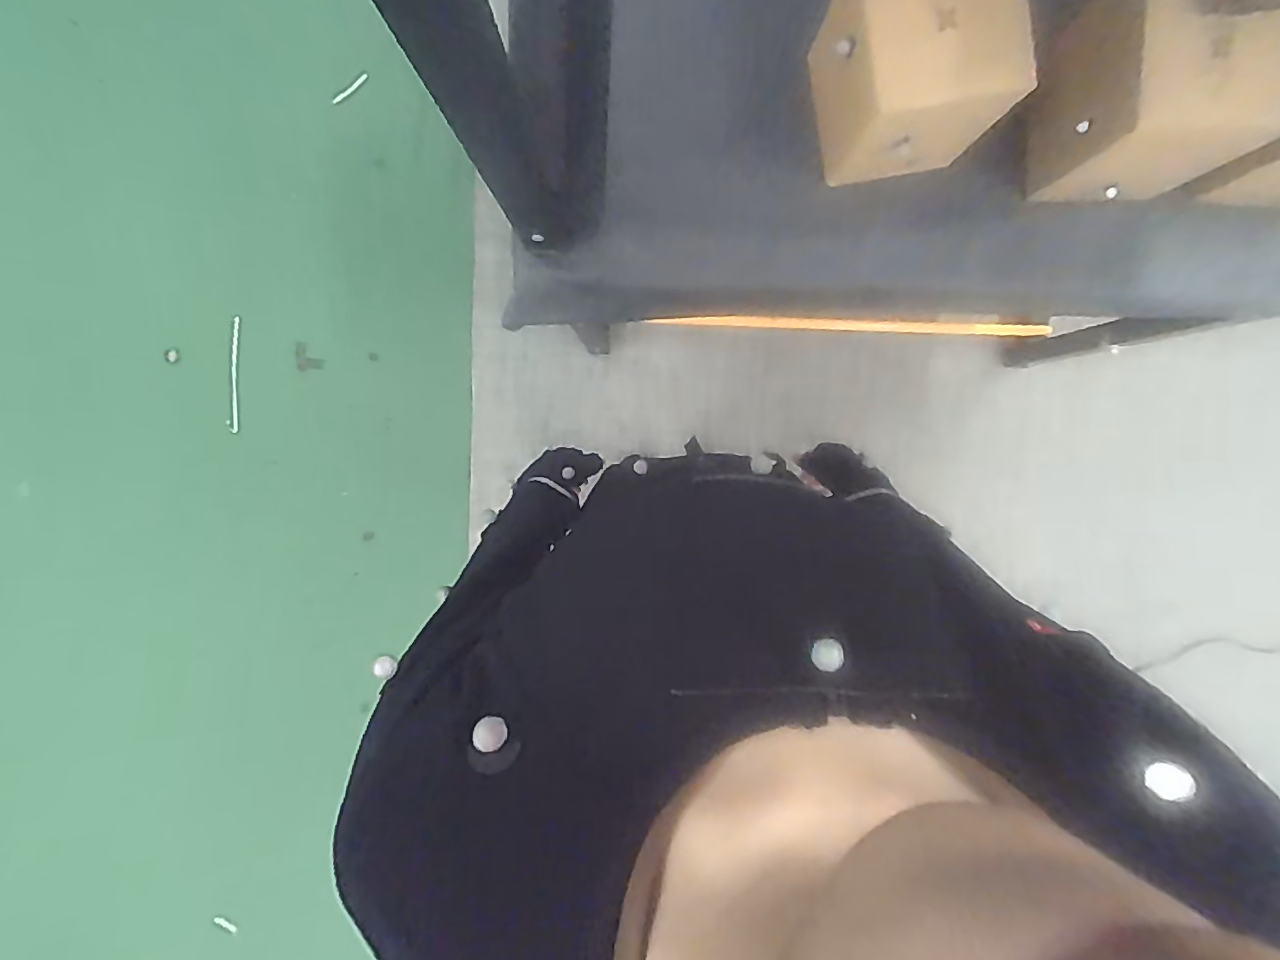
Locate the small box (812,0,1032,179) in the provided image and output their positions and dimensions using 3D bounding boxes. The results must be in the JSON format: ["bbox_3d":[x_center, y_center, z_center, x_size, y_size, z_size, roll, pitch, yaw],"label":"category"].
[{"bbox_3d":[0.315,-0.483,0.637,0.168,0.176,0.179,-9,93,2],"label":"small box"}]
